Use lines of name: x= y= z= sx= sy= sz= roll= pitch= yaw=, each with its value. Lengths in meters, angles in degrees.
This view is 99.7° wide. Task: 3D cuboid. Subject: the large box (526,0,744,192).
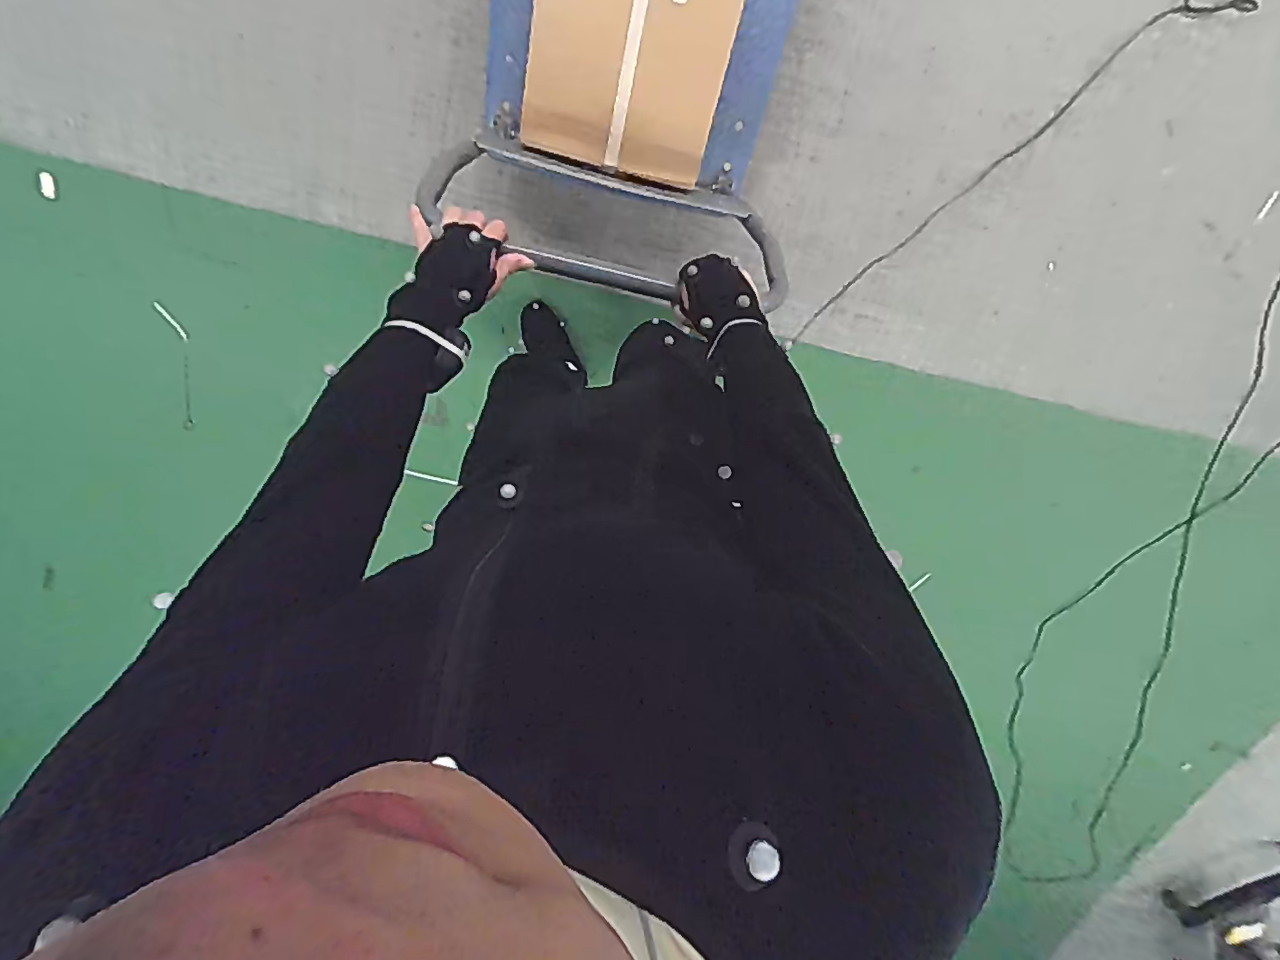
large box: x=-0.011 y=-0.789 z=0.986 sx=0.320 sy=0.320 sz=0.408 roll=10 pitch=121 yaw=-10
